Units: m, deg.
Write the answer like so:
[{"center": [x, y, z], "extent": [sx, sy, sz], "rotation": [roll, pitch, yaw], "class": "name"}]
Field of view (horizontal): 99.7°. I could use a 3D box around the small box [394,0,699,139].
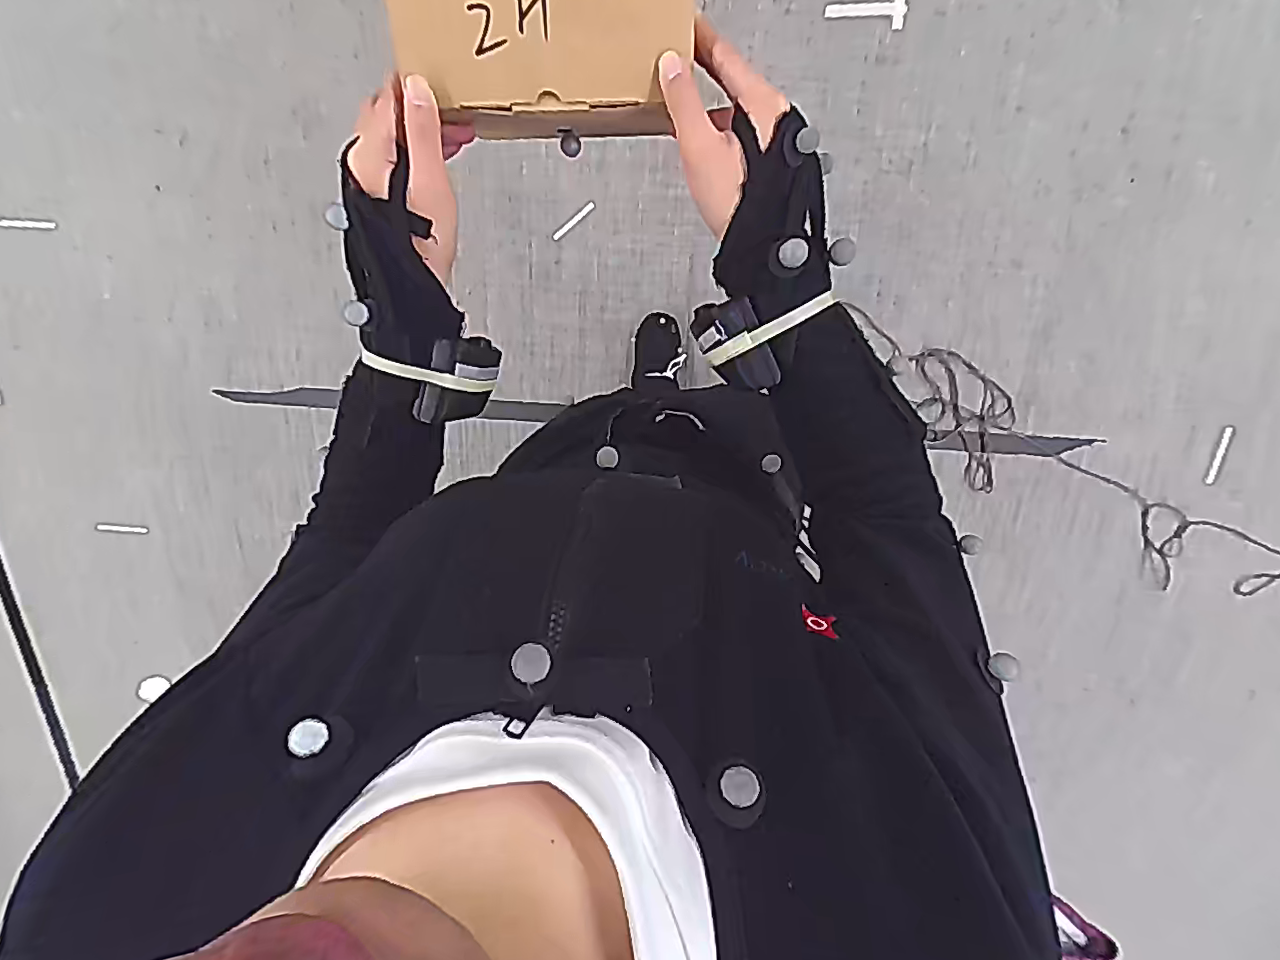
[{"center": [-0.051, -0.331, 0.343], "extent": [0.168, 0.176, 0.179], "rotation": [-1, 116, 0], "class": "small box"}]
